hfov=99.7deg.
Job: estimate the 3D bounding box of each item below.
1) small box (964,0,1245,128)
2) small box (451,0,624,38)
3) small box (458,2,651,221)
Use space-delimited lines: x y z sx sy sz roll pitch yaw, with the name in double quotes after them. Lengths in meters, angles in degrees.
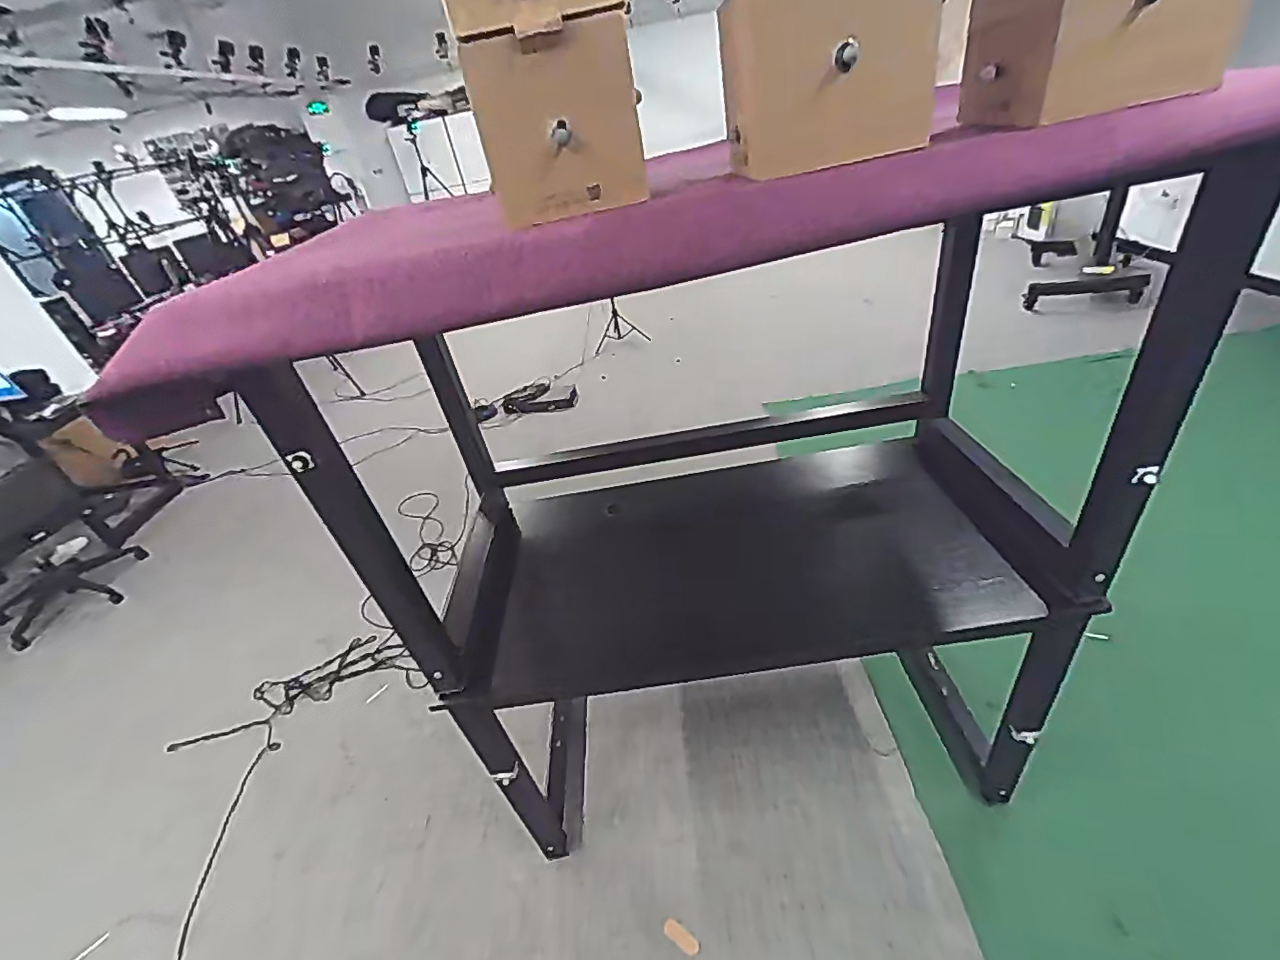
0.468 -0.481 0.553 0.179 0.176 0.168 -10 34 6 "small box"
-0.113 -0.539 0.526 0.168 0.176 0.179 -13 32 -1 "small box"
-0.086 -0.407 0.619 0.168 0.176 0.179 -11 34 1 "small box"
